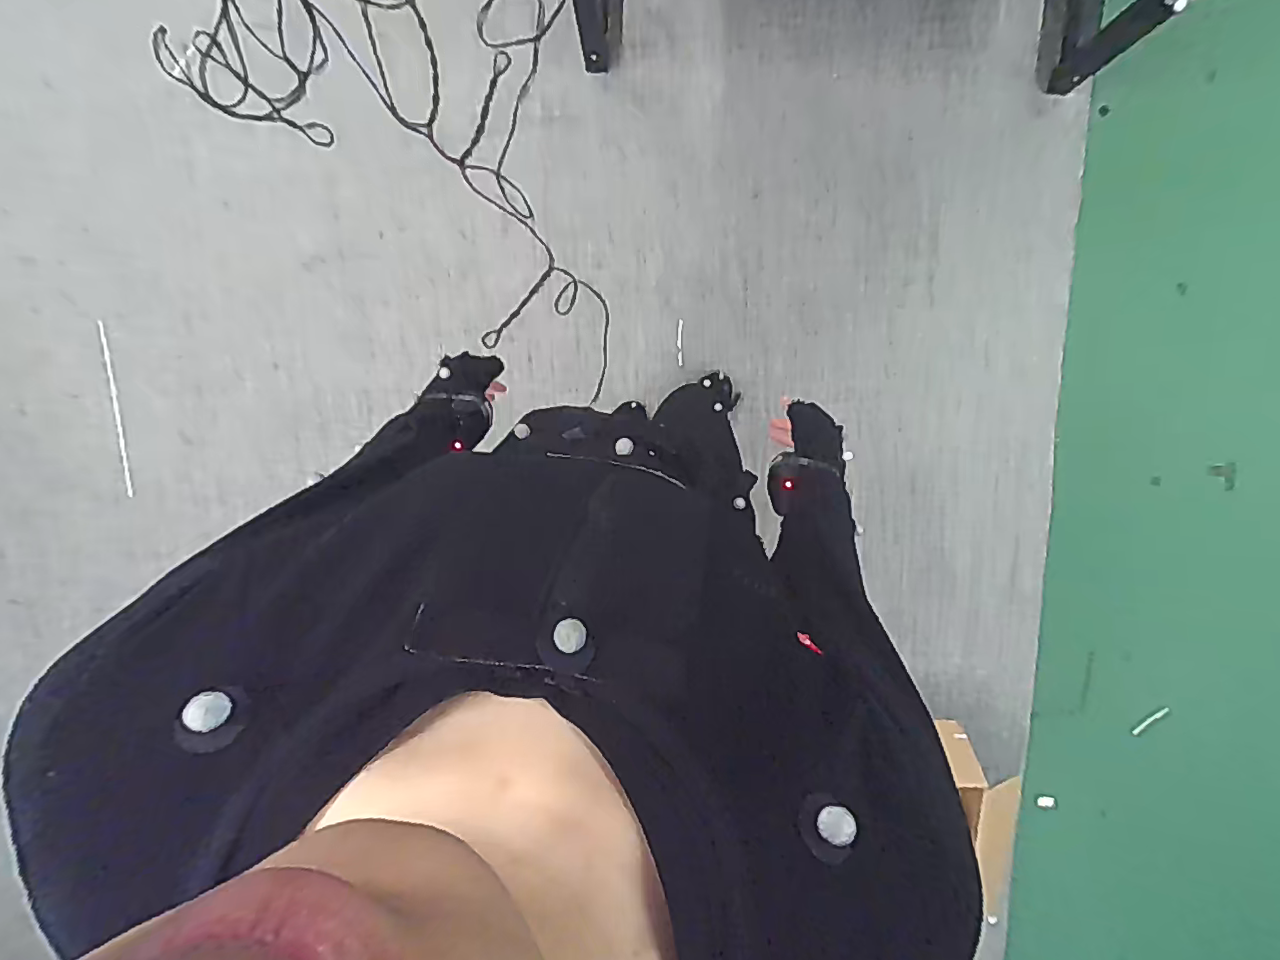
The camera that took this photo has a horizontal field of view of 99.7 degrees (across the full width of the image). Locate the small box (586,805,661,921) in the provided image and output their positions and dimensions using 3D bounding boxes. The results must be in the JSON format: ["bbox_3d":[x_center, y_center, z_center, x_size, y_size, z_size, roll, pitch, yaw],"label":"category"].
[{"bbox_3d":[-0.038,0.937,1.340,0.168,0.176,0.179,-6,97,2],"label":"small box"}]
